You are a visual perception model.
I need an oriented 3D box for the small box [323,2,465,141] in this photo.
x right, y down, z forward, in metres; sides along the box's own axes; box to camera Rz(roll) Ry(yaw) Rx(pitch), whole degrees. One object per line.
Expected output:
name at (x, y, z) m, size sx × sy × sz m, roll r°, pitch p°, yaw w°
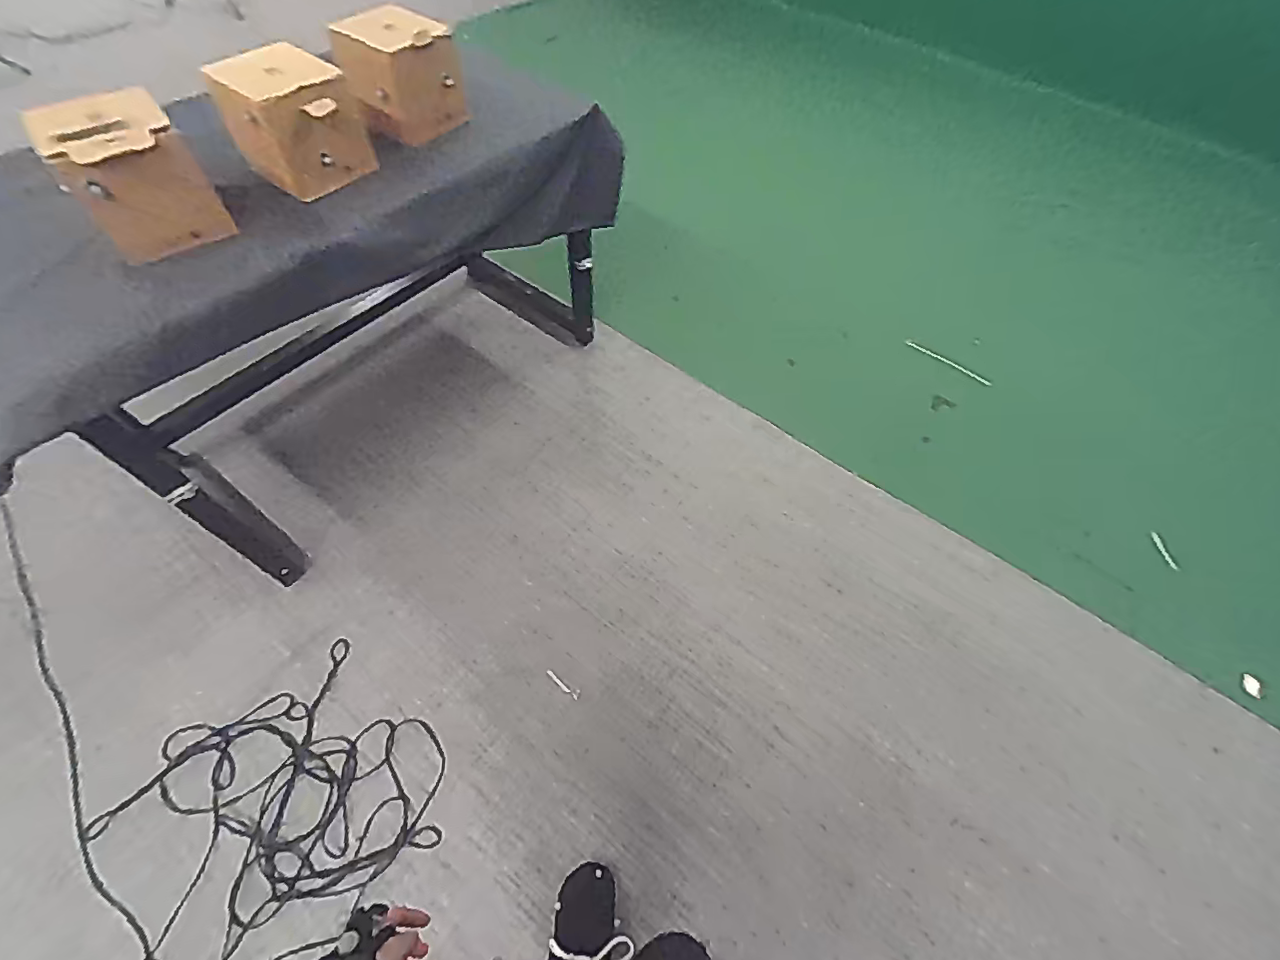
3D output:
small box at (-0.483, -0.819, 1.092) m, size 0.179 × 0.176 × 0.168 m, roll 31°, pitch 59°, yaw 16°

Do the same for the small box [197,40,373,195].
small box at (-0.626, -0.649, 0.974) m, size 0.179 × 0.176 × 0.168 m, roll 34°, pitch 61°, yaw 16°
